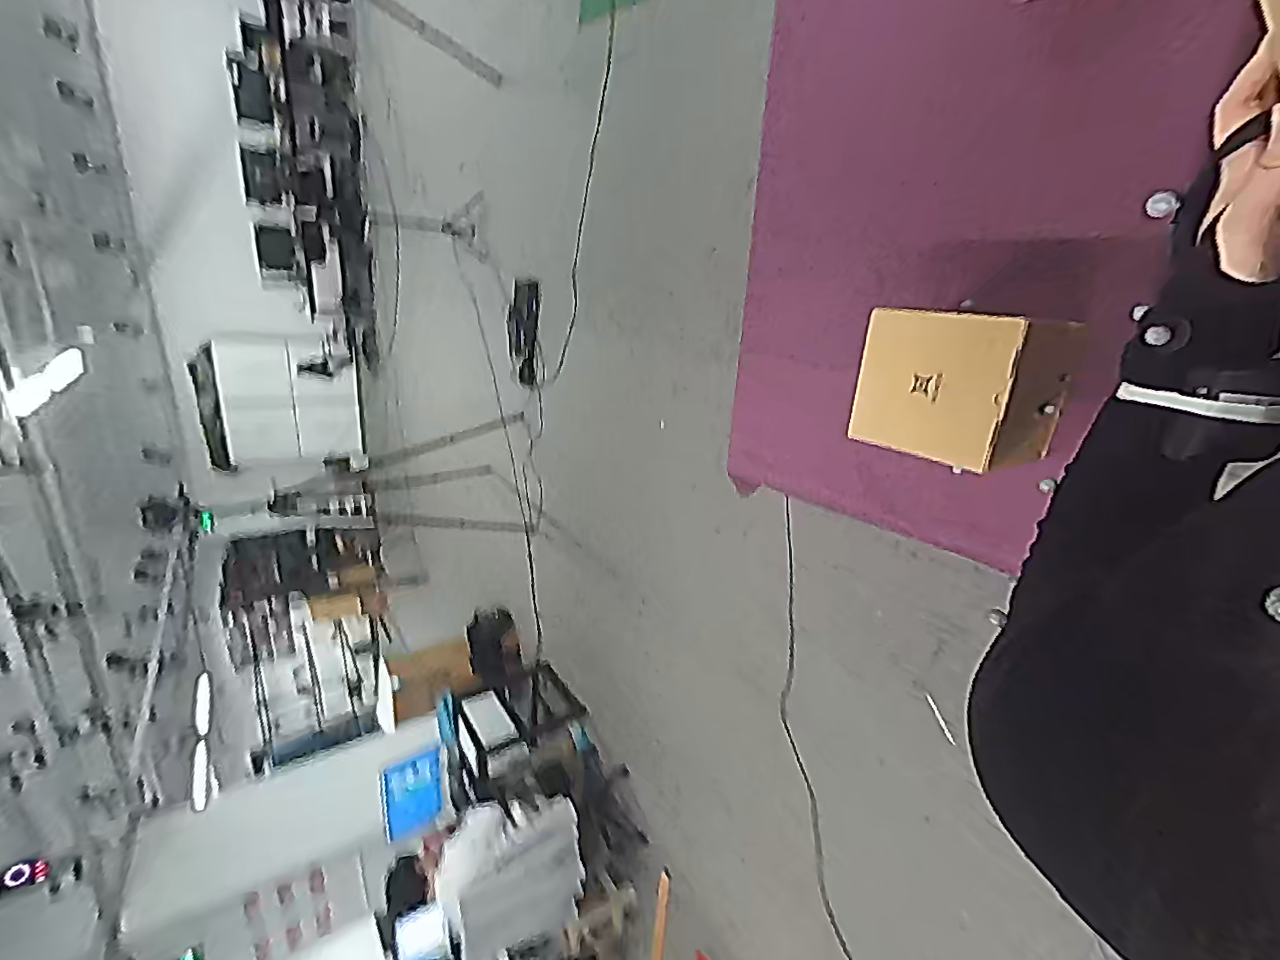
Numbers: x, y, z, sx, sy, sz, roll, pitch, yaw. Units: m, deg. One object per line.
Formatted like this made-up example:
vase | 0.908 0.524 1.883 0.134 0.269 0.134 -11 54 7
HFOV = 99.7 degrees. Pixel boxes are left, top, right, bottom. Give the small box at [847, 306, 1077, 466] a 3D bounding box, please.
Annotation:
small box | 0.399 -0.124 0.682 0.179 0.176 0.168 26 118 49
